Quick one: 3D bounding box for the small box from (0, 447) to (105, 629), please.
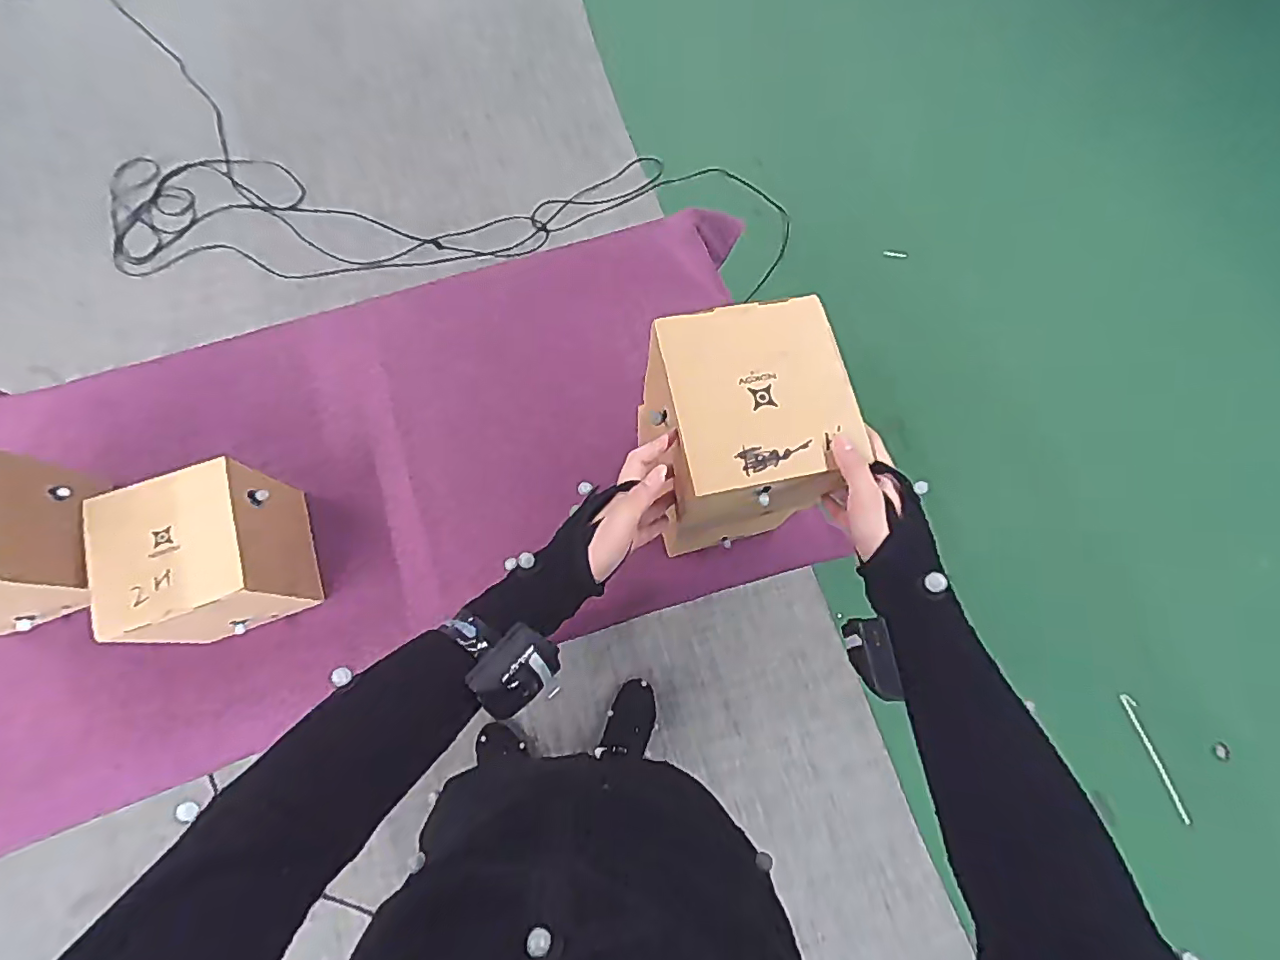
[{"bbox_3d":[-0.831,0.083,0.703,0.168,0.176,0.179,-20,76,-6],"label":"small box"}]

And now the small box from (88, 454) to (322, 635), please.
[{"bbox_3d":[-0.551,0.092,0.704,0.168,0.176,0.179,-19,75,-6],"label":"small box"}]

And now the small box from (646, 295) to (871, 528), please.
[{"bbox_3d":[0.103,-0.061,0.564,0.168,0.176,0.179,-11,75,-5],"label":"small box"}]
